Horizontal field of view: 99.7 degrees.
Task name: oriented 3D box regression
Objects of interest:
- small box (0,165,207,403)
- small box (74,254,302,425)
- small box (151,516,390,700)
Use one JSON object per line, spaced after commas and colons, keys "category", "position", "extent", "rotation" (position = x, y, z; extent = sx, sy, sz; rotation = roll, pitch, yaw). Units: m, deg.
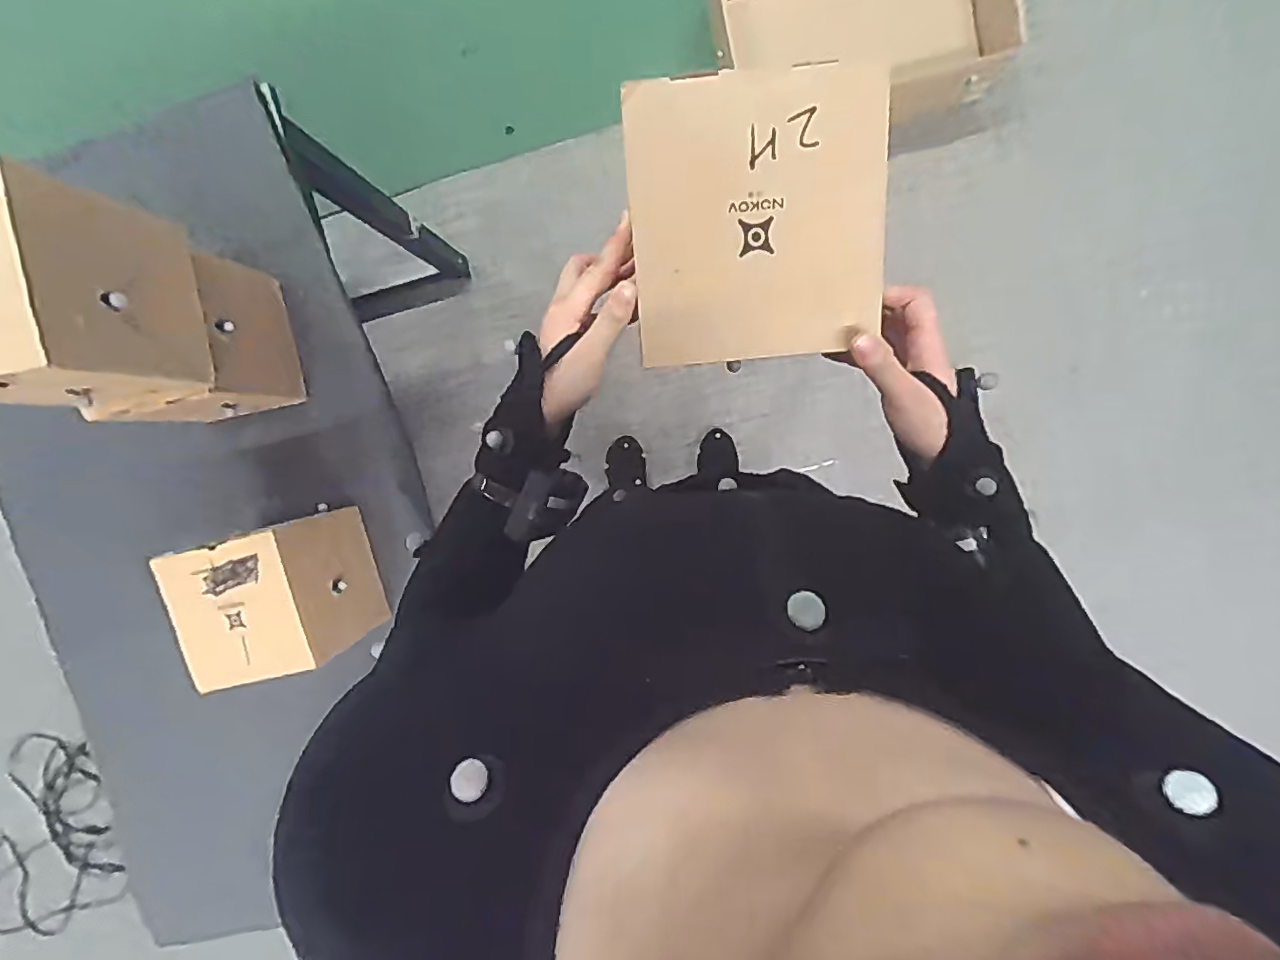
{"category": "small box", "position": [-0.564, -0.168, 0.515], "extent": [0.168, 0.176, 0.179], "rotation": [-8, 96, 4]}
{"category": "small box", "position": [-0.567, -0.170, 0.680], "extent": [0.168, 0.176, 0.179], "rotation": [-11, 94, 4]}
{"category": "small box", "position": [-0.462, 0.152, 0.706], "extent": [0.168, 0.176, 0.179], "rotation": [-13, 97, 6]}
